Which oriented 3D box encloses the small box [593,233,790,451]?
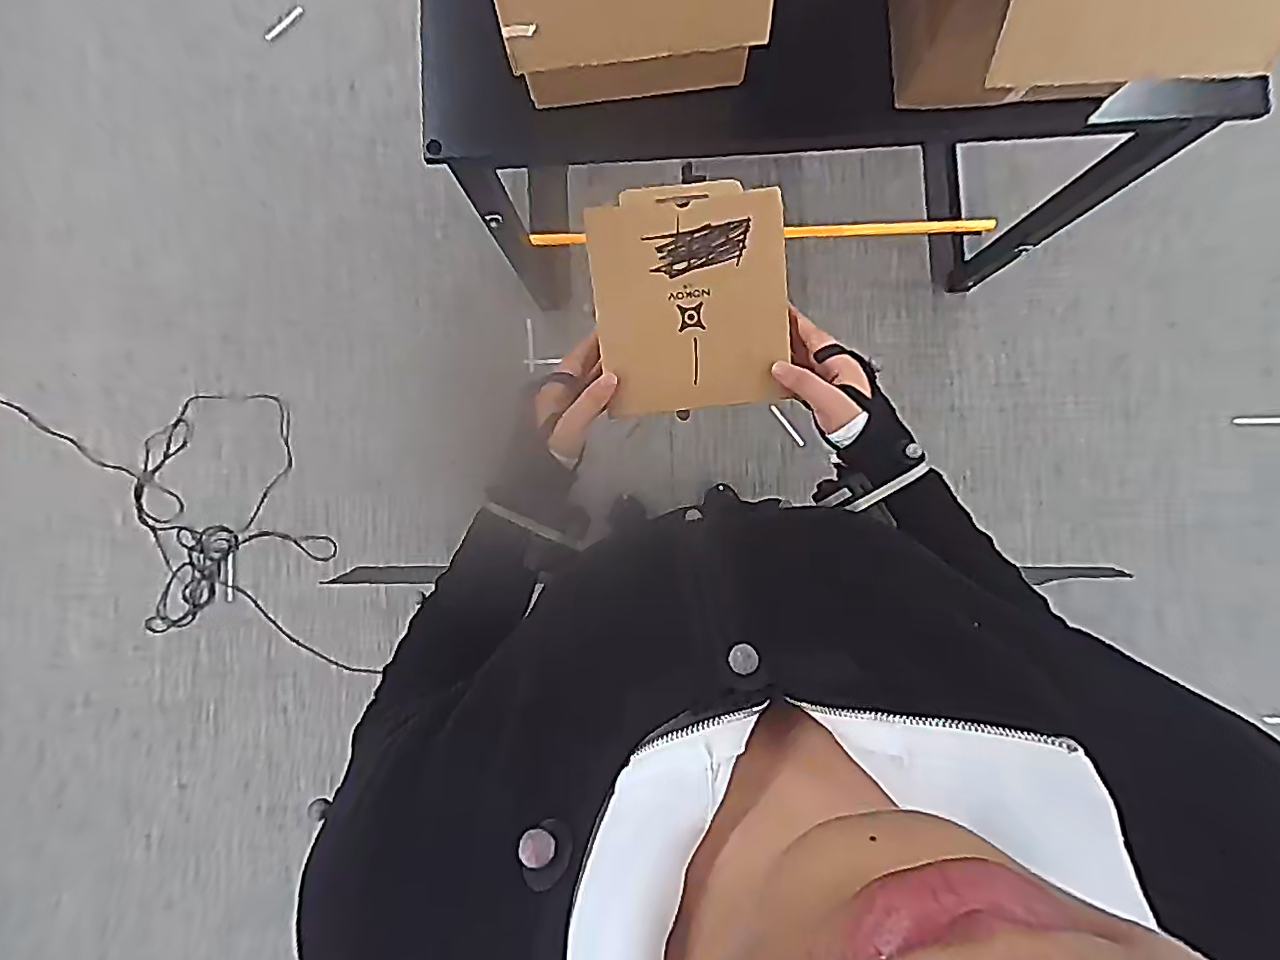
[{"bbox_3d":[0.045,-0.132,0.553,0.168,0.176,0.179,-6,101,0],"label":"small box"}]
